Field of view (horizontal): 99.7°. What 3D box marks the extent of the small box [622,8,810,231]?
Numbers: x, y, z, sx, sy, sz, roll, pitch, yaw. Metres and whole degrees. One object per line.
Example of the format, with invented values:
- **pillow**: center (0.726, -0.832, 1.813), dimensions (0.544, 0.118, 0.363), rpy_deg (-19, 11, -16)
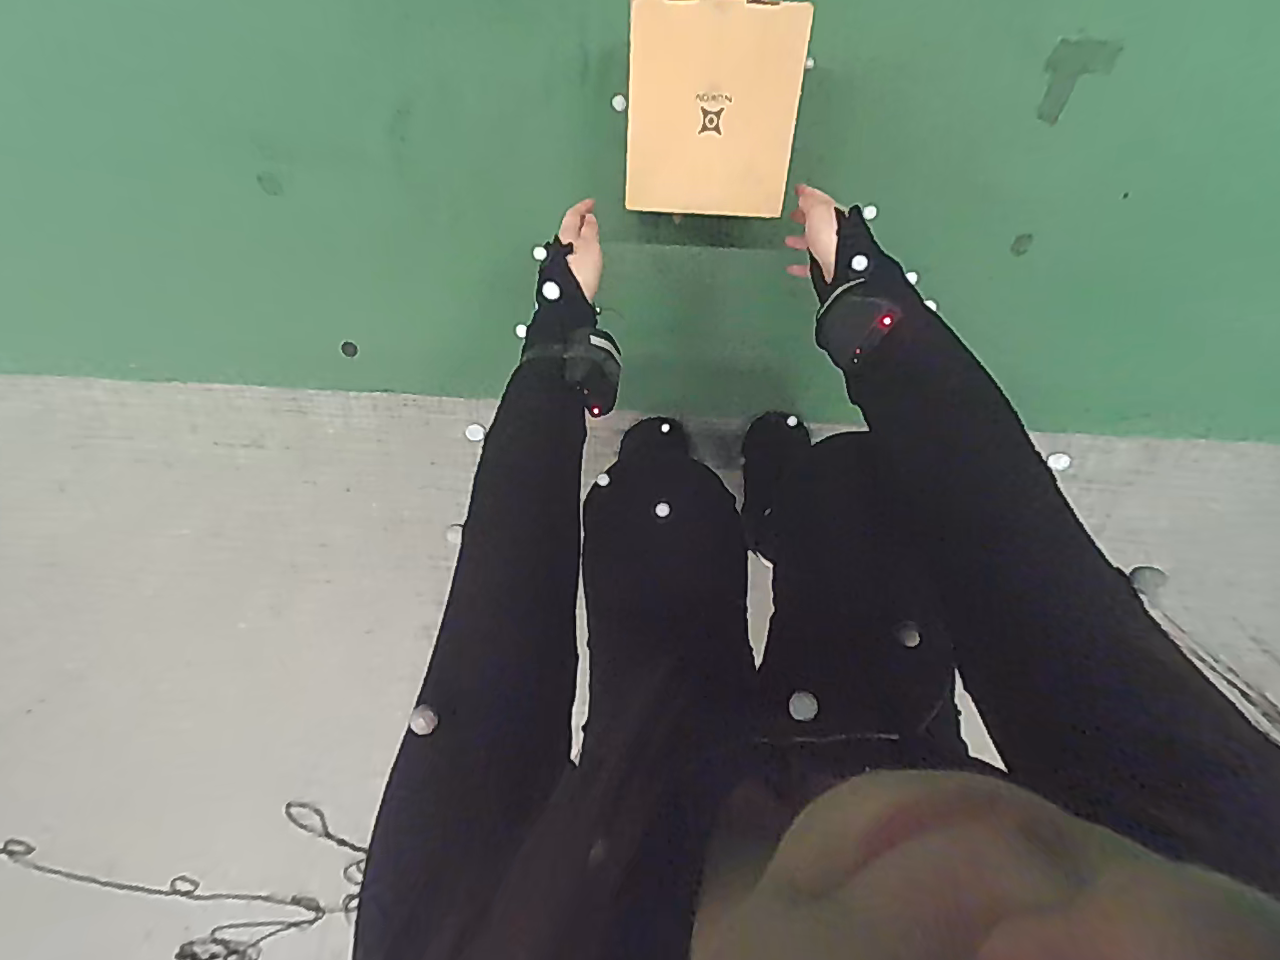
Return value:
- **small box**: center (0.071, -0.381, 0.595), dimensions (0.168, 0.176, 0.179), rpy_deg (3, 118, 0)
